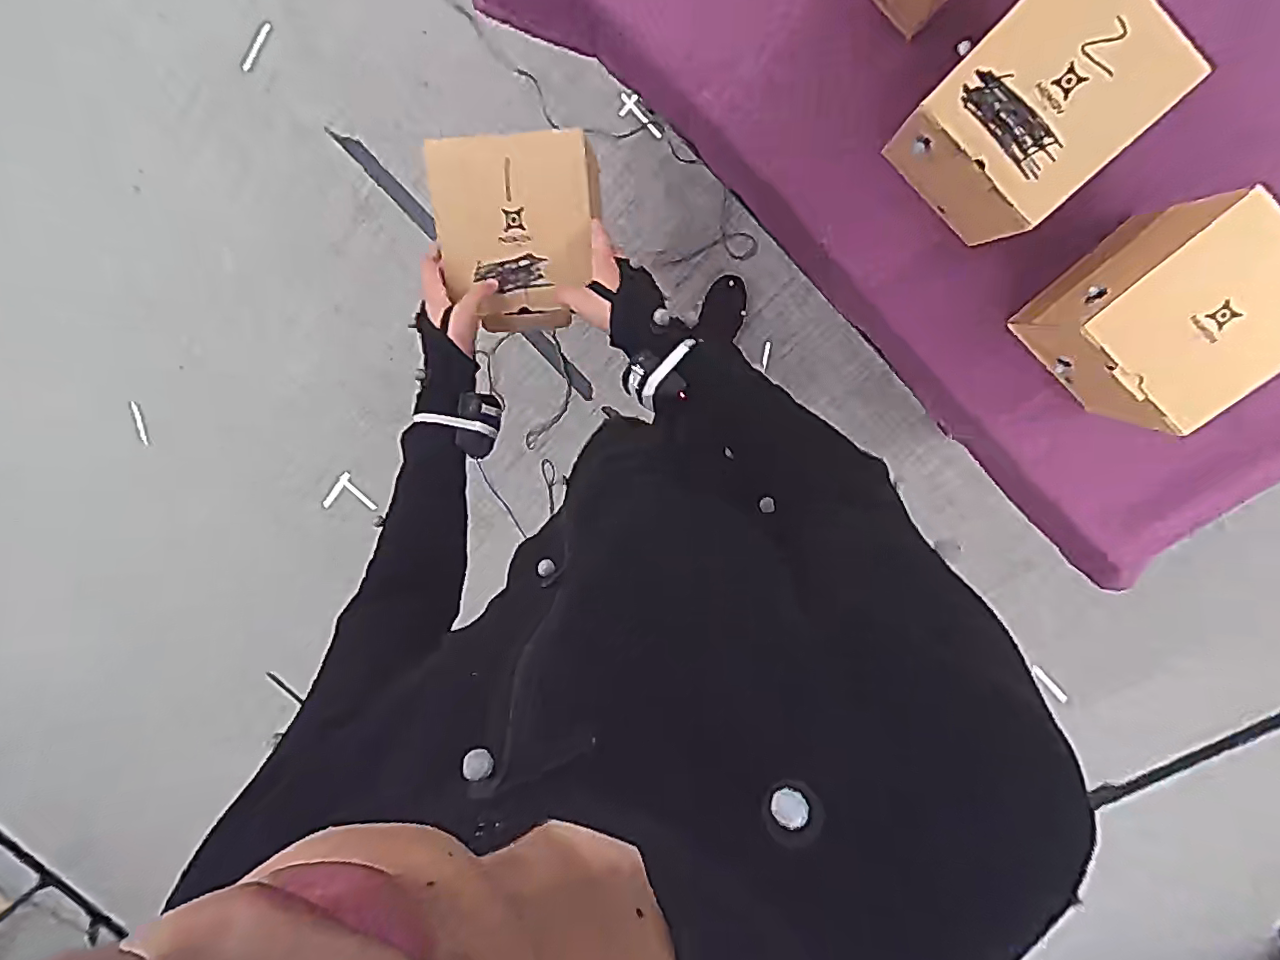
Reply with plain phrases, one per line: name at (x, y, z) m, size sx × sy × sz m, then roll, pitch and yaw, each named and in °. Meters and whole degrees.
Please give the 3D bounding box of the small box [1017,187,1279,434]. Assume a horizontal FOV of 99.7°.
small box at (0.579, -0.183, 0.603) m, size 0.168 × 0.176 × 0.179 m, roll 43°, pitch 111°, yaw -4°

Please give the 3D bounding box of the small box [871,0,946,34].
small box at (0.300, -0.600, 0.519) m, size 0.168 × 0.176 × 0.179 m, roll 45°, pitch 111°, yaw -5°

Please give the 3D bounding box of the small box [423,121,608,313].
small box at (-0.130, -0.300, 0.641) m, size 0.168 × 0.176 × 0.179 m, roll -3°, pitch 110°, yaw 2°
